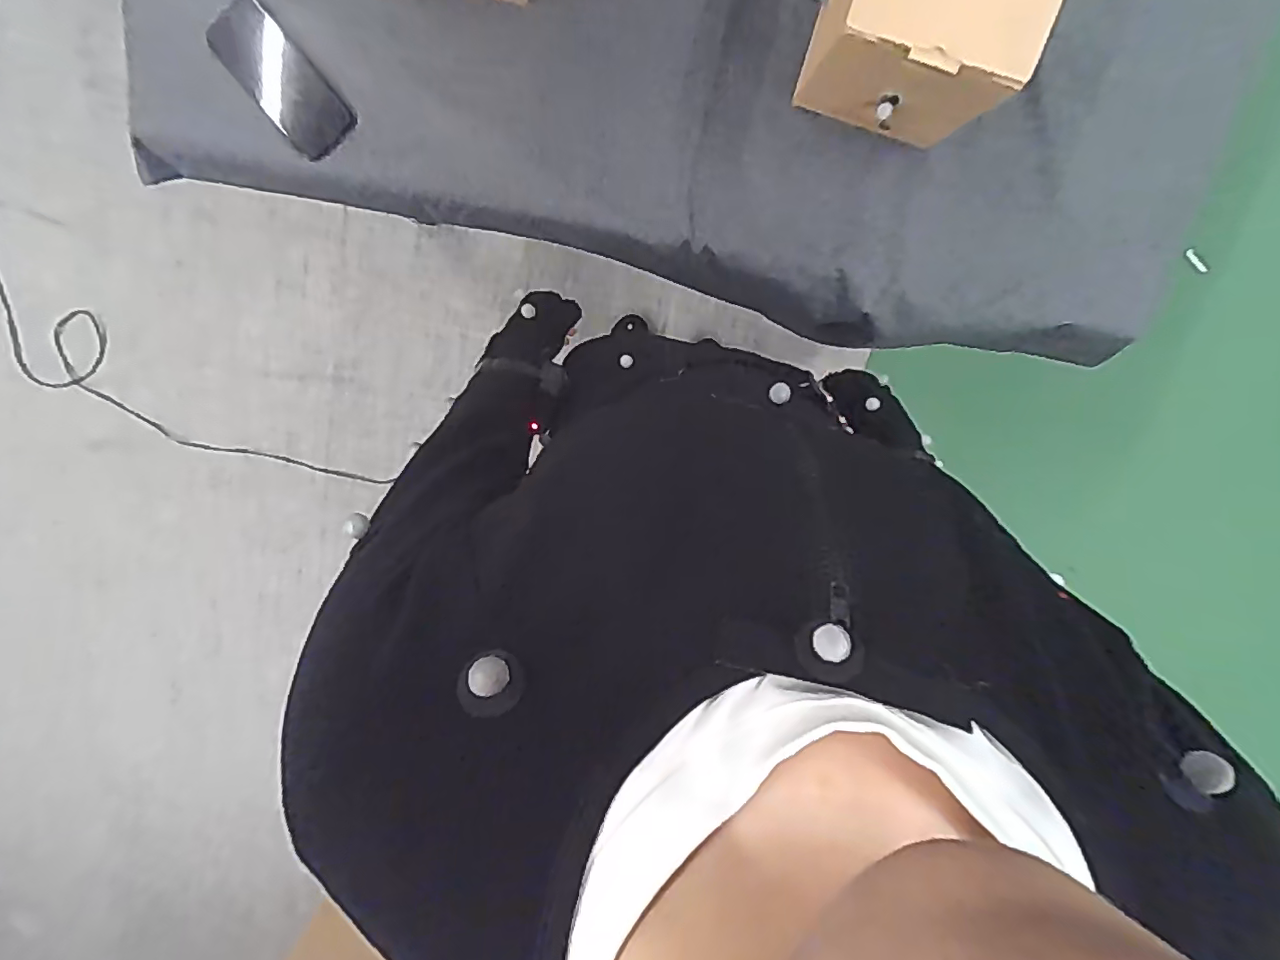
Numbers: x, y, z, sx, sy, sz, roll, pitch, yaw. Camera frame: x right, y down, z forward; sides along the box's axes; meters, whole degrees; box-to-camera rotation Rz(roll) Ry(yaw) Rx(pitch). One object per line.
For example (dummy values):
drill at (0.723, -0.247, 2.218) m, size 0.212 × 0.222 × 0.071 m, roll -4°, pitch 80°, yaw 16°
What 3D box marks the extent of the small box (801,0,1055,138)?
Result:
small box at (0.267, -0.454, 0.503) m, size 0.168 × 0.176 × 0.179 m, roll 15°, pitch 106°, yaw -4°
